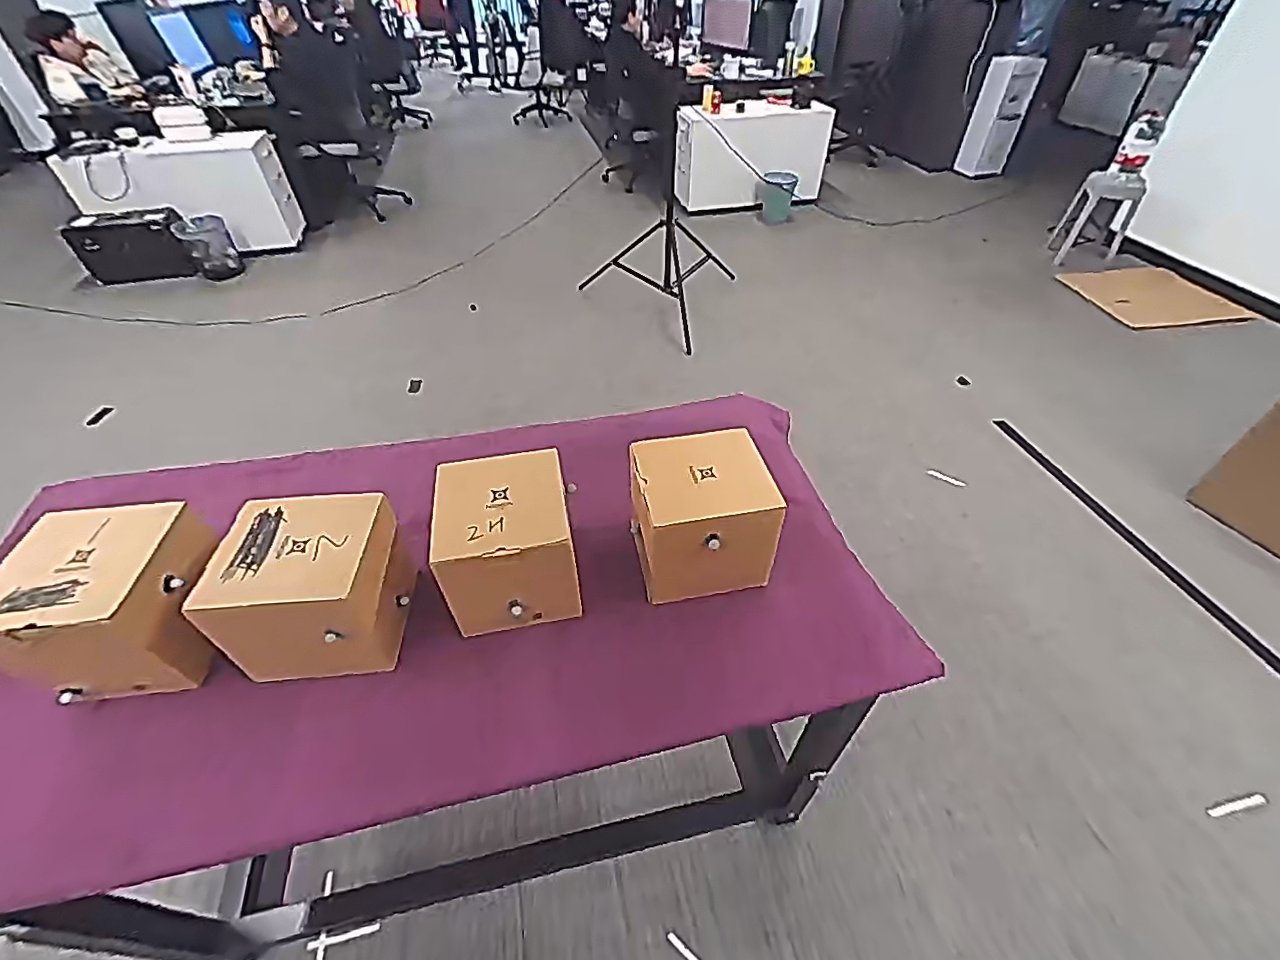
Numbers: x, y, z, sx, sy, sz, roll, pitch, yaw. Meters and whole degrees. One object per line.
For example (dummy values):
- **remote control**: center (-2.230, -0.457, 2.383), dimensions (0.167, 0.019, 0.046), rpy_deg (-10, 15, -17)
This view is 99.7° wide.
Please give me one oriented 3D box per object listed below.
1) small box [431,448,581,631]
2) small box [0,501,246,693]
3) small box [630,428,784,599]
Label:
- **small box**: center (-0.179, 0.081, 0.752), dimensions (0.168, 0.176, 0.179), rpy_deg (-9, 45, -8)
- **small box**: center (-0.647, 0.152, 0.684), dimensions (0.168, 0.176, 0.179), rpy_deg (-5, 45, -5)
- **small box**: center (0.084, 0.049, 0.782), dimensions (0.179, 0.176, 0.168), rpy_deg (-8, 43, -8)
